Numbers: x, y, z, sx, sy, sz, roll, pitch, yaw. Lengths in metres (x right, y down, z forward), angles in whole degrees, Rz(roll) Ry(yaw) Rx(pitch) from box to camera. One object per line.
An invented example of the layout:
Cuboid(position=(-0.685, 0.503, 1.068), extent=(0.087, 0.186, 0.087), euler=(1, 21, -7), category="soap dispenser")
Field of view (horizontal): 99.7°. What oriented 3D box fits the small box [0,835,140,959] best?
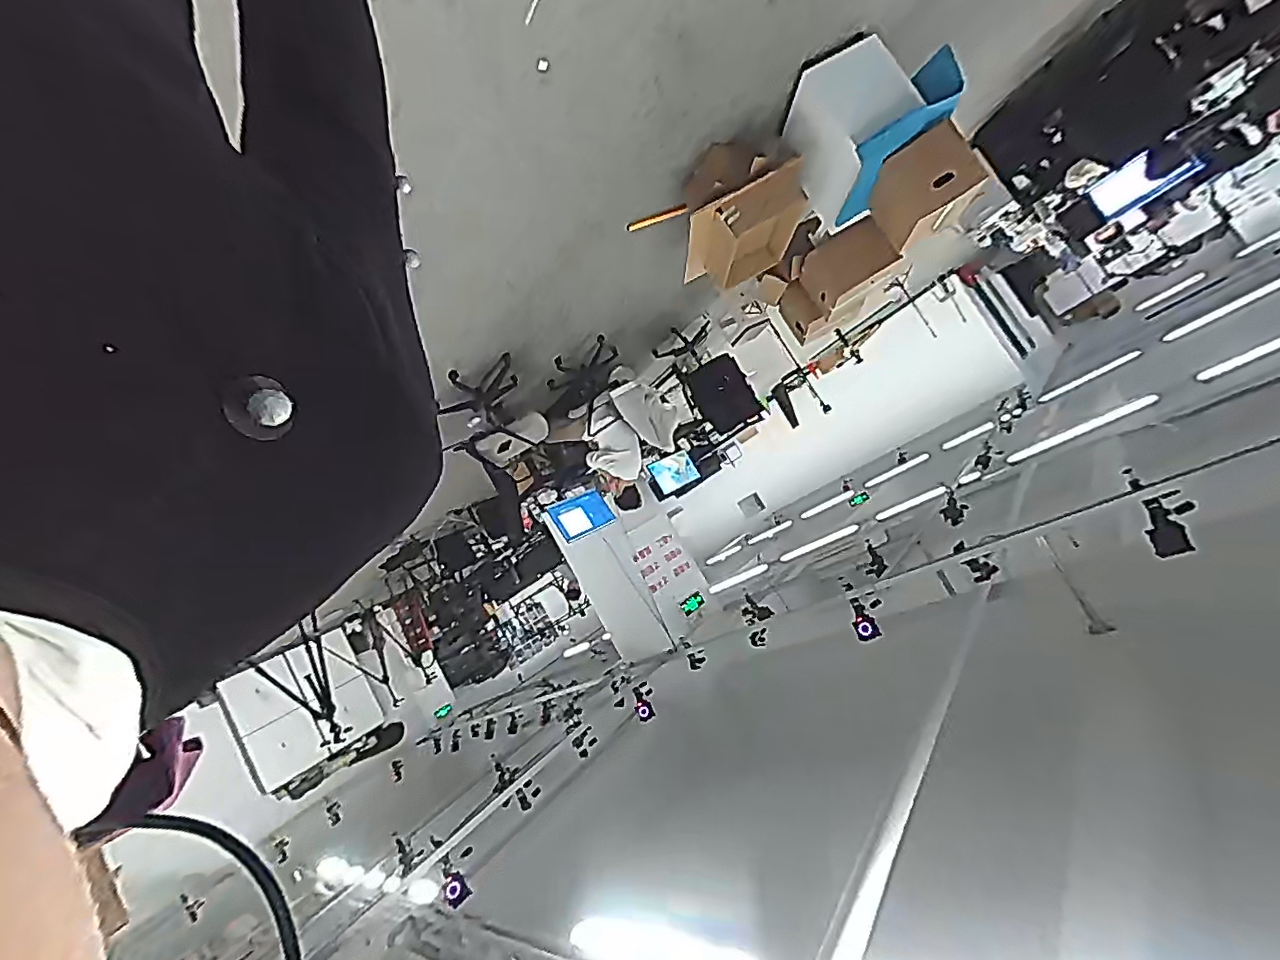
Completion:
Cuboid(position=(-1.092, 0.806, 1.018), extent=(0.168, 0.176, 0.179), euler=(-36, 173, 41), category="small box")
